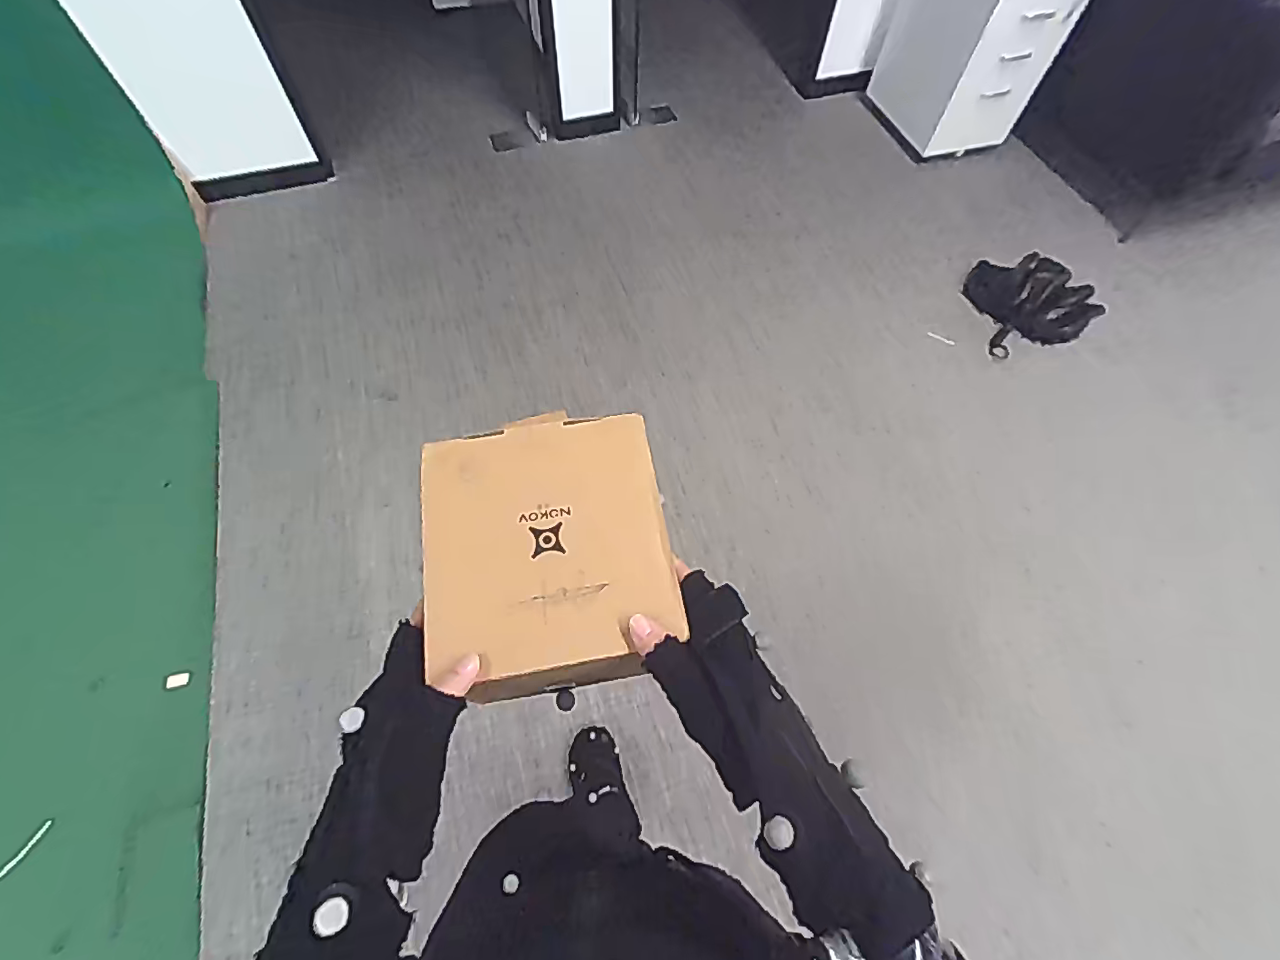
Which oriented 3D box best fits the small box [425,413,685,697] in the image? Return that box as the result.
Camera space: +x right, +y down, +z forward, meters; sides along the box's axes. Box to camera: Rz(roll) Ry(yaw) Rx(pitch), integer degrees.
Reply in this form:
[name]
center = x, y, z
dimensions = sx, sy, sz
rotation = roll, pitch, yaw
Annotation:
[small box]
center = -0.068, 0.070, 0.447
dimensions = 0.168, 0.176, 0.179
rotation = -9, 66, -6
